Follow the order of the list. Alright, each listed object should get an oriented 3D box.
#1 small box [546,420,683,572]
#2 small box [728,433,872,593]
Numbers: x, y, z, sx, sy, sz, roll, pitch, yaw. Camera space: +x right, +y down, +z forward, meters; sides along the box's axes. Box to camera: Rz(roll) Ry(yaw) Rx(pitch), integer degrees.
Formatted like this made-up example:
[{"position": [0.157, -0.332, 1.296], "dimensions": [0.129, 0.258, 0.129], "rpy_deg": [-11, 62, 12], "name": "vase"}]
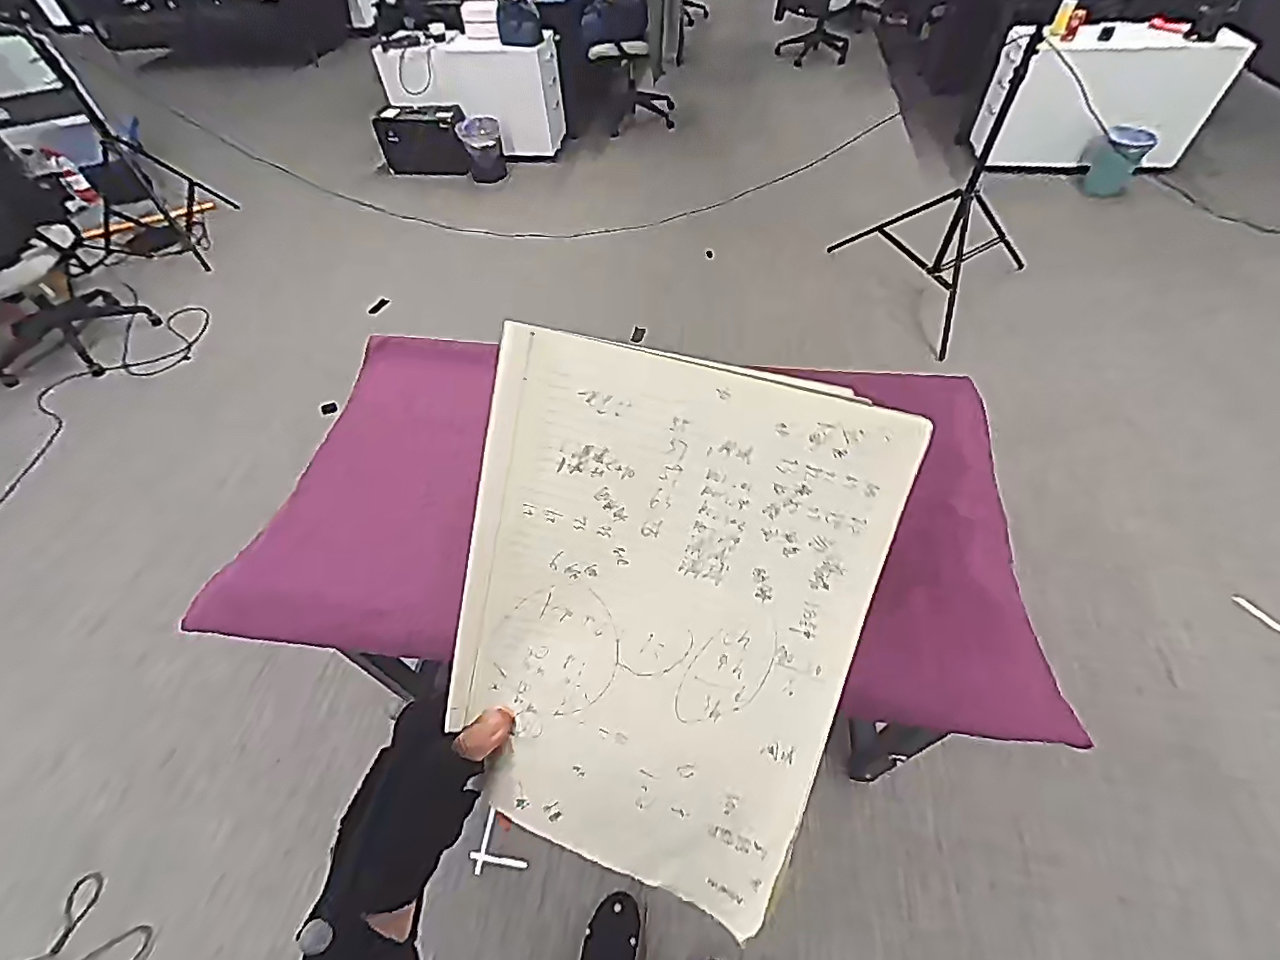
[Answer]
[{"position": [-0.031, 0.029, 0.845], "dimensions": [0.179, 0.176, 0.168], "rpy_deg": [5, 51, 7], "name": "small box"}, {"position": [0.232, 0.053, 0.812], "dimensions": [0.179, 0.176, 0.168], "rpy_deg": [6, 50, 10], "name": "small box"}]
